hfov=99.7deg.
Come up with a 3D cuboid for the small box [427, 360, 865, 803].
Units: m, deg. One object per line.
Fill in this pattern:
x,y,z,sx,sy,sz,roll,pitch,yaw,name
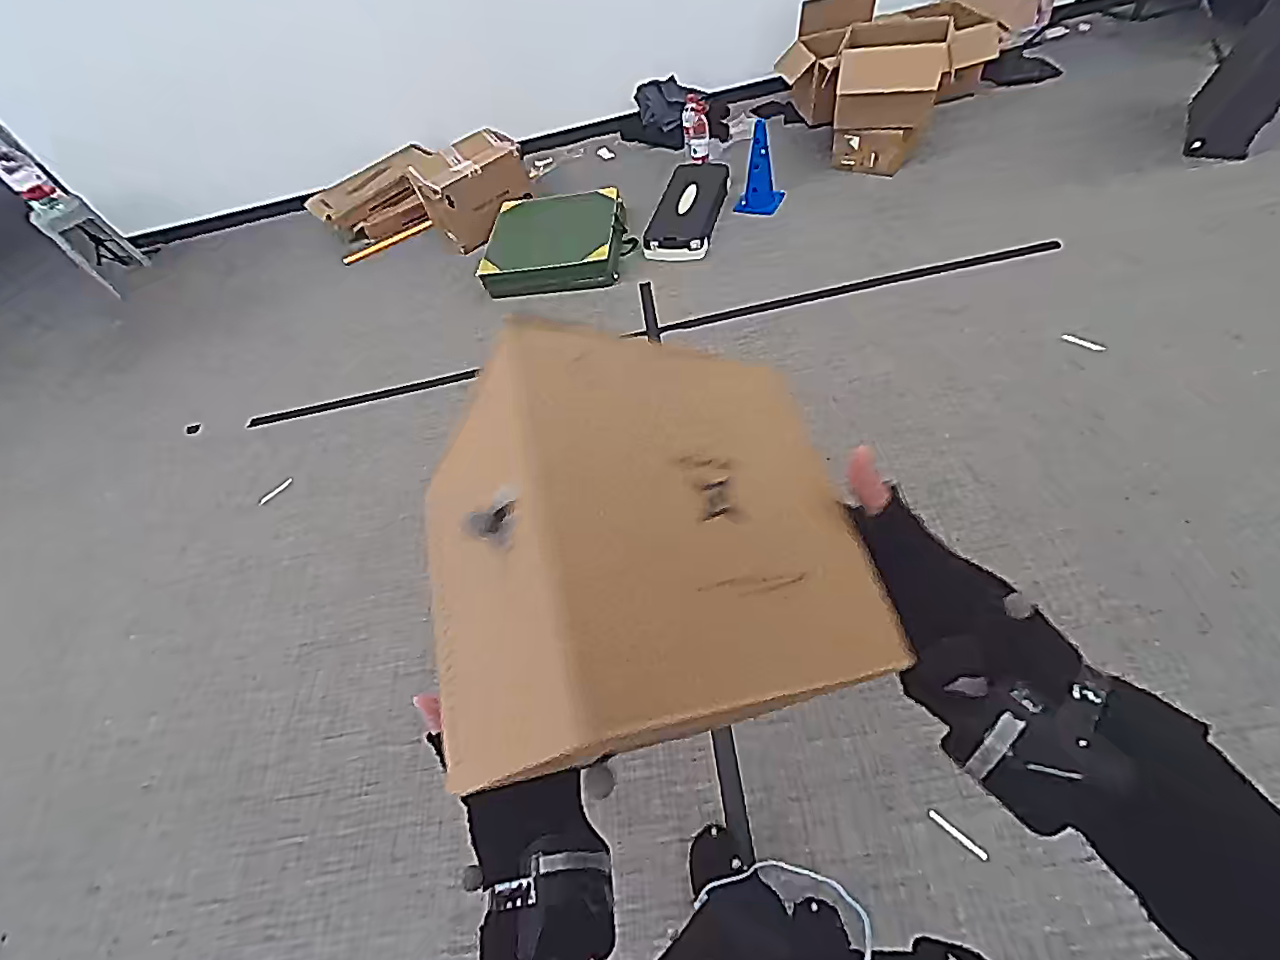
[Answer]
-0.020,0.062,0.311,0.168,0.176,0.179,2,58,-31,small box
